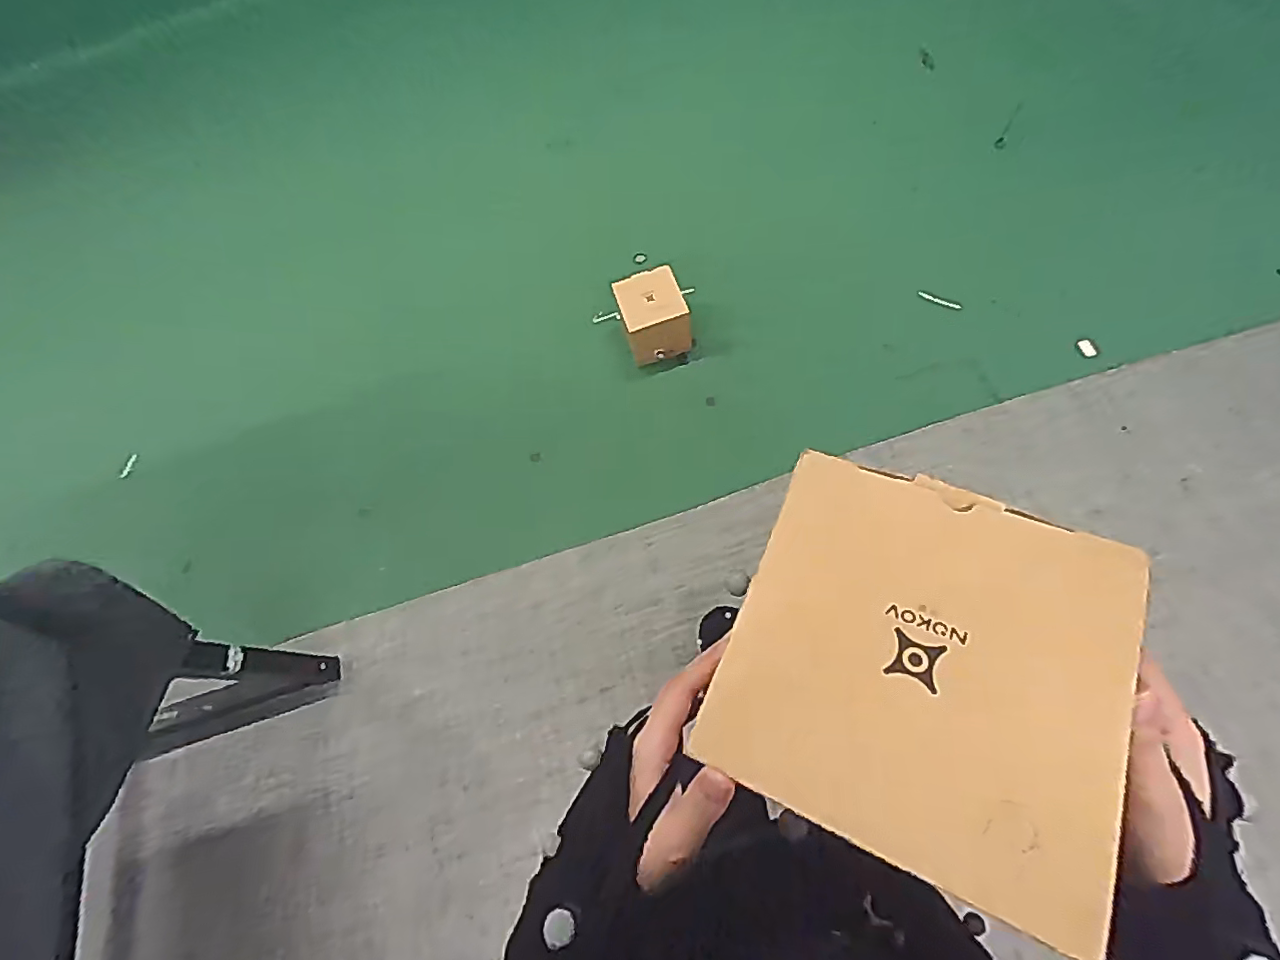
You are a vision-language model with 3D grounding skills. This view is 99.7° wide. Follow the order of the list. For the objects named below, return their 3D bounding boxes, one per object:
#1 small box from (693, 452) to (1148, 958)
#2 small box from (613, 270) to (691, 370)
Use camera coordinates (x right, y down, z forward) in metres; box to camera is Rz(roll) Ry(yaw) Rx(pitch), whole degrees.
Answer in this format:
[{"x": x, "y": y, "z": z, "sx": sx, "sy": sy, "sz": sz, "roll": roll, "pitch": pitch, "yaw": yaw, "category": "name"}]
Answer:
[{"x": 0.146, "y": 0.116, "z": 0.321, "sx": 0.168, "sy": 0.176, "sz": 0.179, "roll": 18, "pitch": 66, "yaw": 20, "category": "small box"}, {"x": 0.037, "y": -0.438, "z": 1.495, "sx": 0.168, "sy": 0.176, "sz": 0.179, "roll": -19, "pitch": 67, "yaw": 0, "category": "small box"}]
